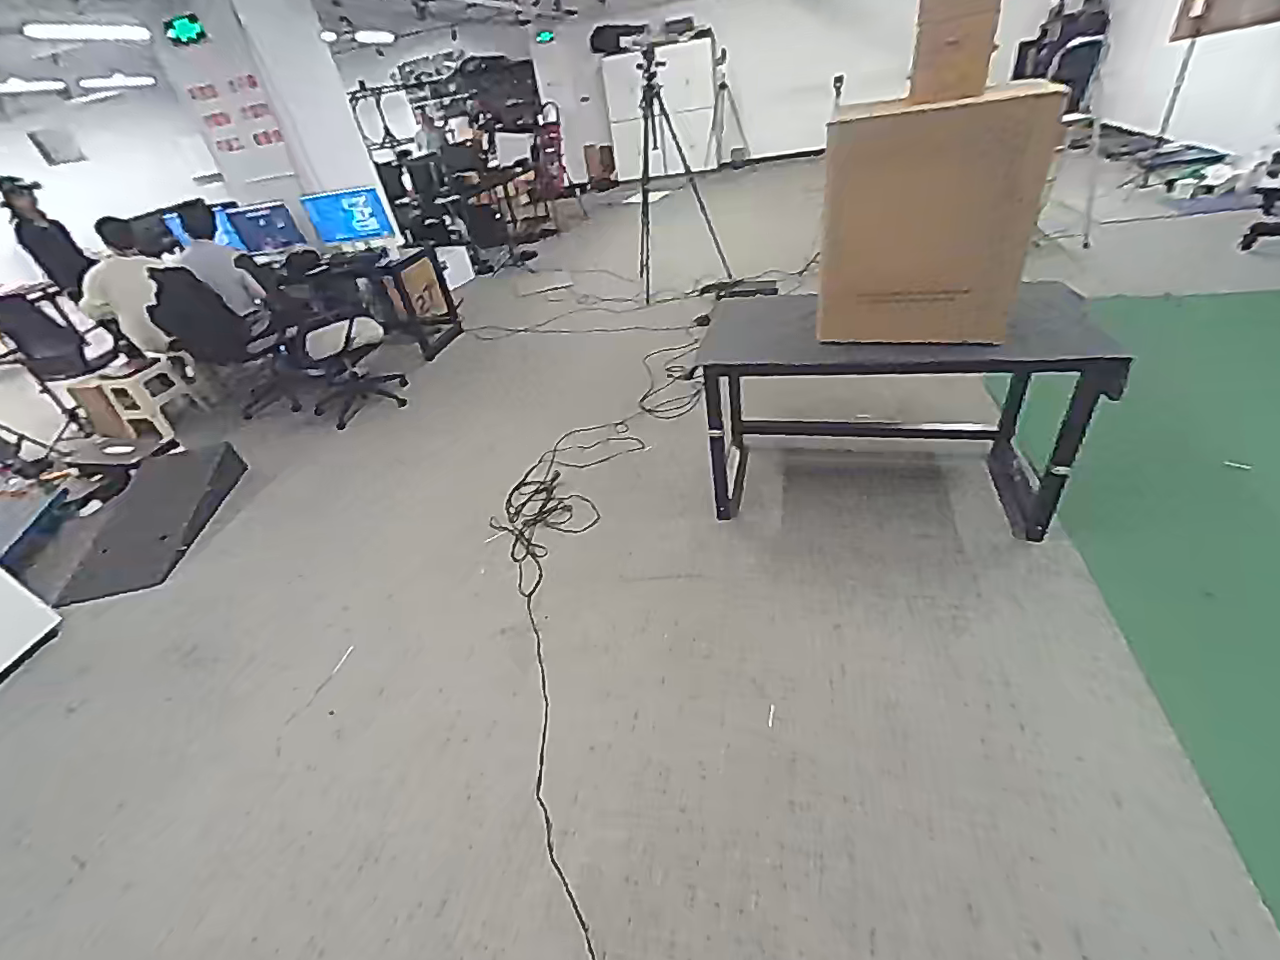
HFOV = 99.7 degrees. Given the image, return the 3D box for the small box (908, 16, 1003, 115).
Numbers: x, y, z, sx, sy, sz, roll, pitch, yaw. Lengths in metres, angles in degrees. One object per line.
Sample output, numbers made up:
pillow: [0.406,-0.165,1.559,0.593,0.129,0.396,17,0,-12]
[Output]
small box: [0.793,-1.049,1.372,0.179,0.176,0.168,6,42,22]
